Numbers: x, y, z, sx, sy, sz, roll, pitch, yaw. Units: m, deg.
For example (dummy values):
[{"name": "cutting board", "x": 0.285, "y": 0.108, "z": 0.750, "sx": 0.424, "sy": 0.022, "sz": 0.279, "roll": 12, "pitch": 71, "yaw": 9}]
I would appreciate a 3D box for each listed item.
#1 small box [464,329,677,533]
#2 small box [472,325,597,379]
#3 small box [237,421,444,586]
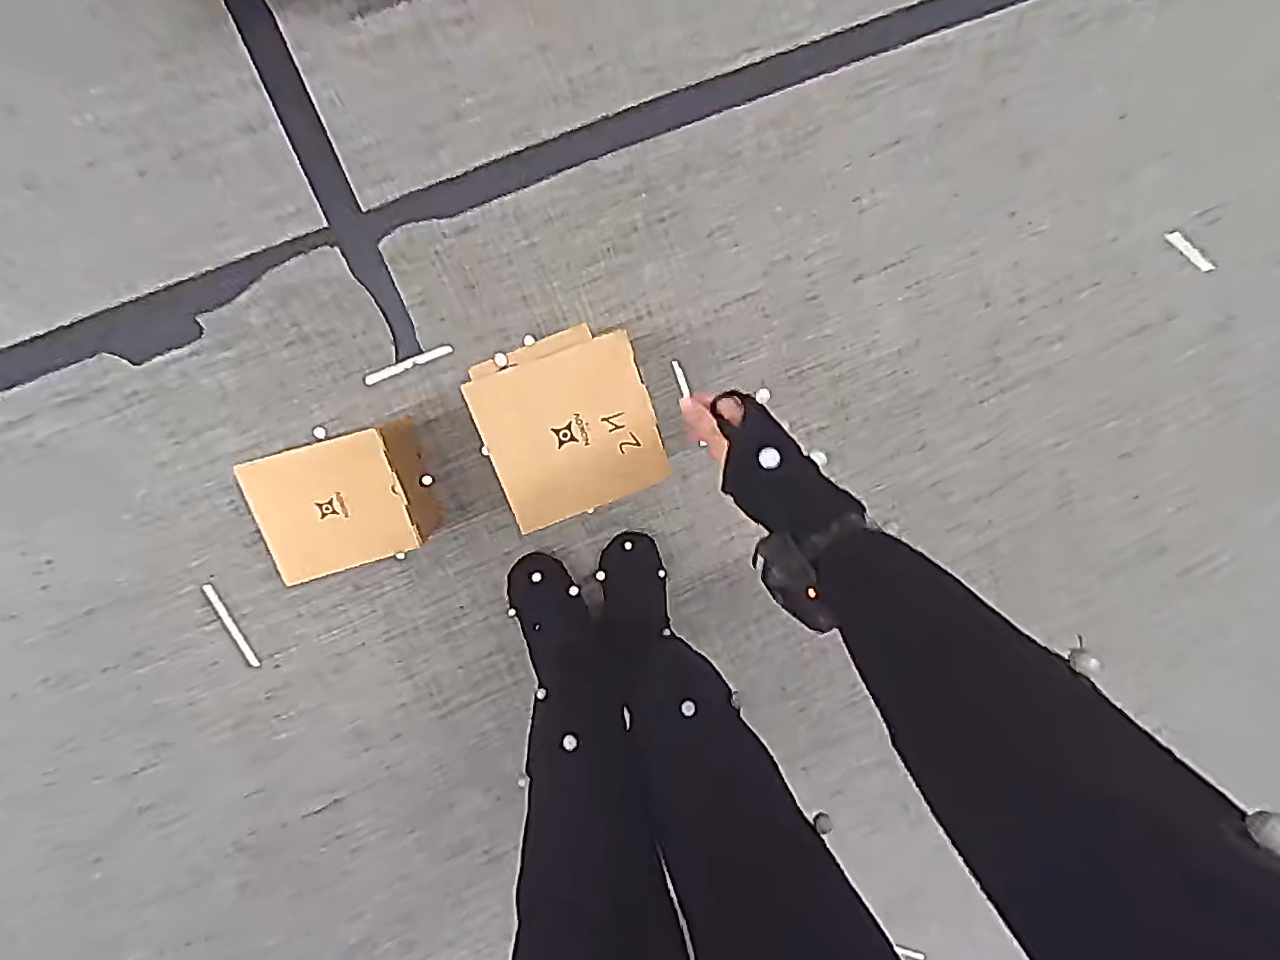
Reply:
[{"name": "small box", "x": -0.079, "y": -0.061, "z": 0.622, "sx": 0.179, "sy": 0.176, "sz": 0.168, "roll": -21, "pitch": 105, "yaw": -7}, {"name": "small box", "x": -0.120, "y": -0.106, "z": 0.776, "sx": 0.168, "sy": 0.176, "sz": 0.179, "roll": -23, "pitch": 104, "yaw": -6}, {"name": "small box", "x": -0.395, "y": 0.022, "z": 0.749, "sx": 0.179, "sy": 0.176, "sz": 0.168, "roll": -17, "pitch": 103, "yaw": -7}]
